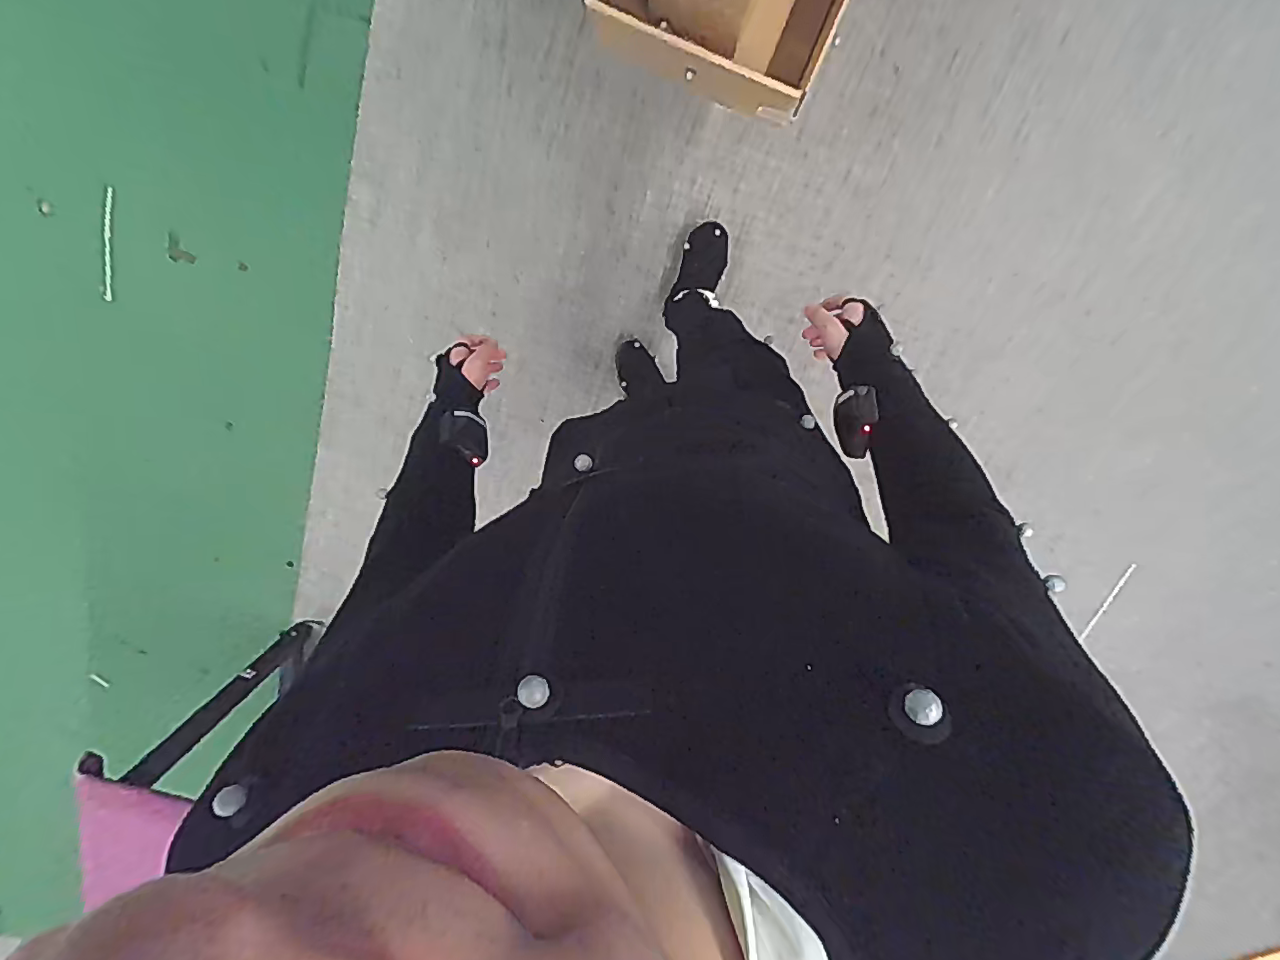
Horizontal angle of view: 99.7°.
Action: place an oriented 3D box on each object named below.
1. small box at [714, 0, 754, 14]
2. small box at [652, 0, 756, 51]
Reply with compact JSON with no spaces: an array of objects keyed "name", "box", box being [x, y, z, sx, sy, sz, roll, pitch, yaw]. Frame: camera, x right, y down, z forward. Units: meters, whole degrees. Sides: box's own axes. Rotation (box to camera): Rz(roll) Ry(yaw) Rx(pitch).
[{"name":"small box","box":[0.116,-0.766,0.699,0.168,0.176,0.179,24,108,-6]},{"name":"small box","box":[0.120,-0.829,0.849,0.168,0.176,0.179,22,108,-5]}]
